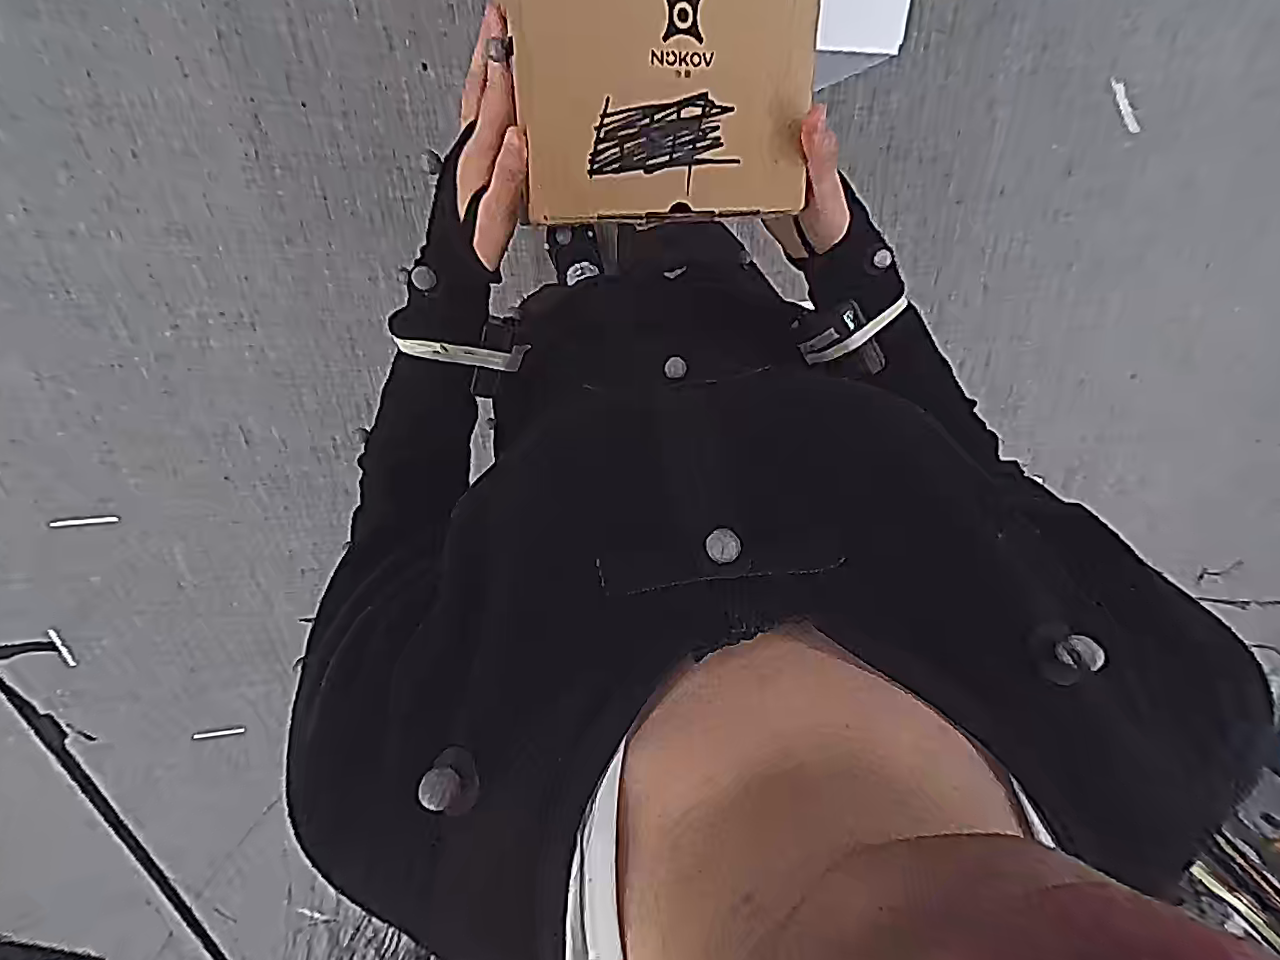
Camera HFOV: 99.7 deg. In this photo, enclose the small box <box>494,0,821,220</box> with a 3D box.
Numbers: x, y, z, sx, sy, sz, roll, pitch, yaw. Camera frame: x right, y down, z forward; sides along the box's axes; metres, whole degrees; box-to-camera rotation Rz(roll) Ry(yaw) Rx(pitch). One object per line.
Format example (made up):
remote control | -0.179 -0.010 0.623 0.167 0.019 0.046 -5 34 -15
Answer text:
small box | -0.001 -0.269 0.354 0.168 0.176 0.179 -9 115 -14
